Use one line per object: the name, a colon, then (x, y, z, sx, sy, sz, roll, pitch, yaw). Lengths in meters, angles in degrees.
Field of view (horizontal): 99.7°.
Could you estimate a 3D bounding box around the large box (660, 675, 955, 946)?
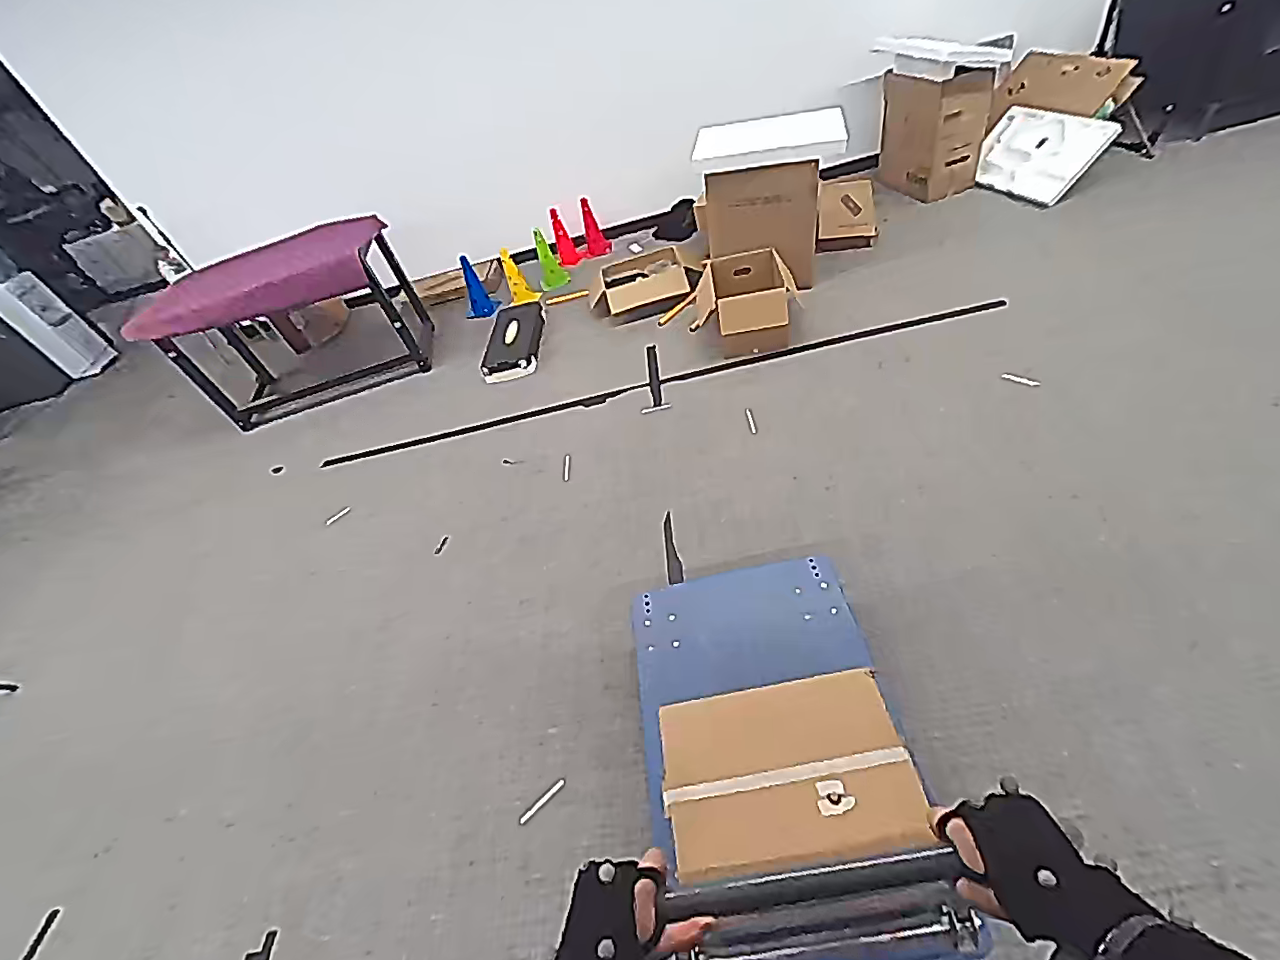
large box: (0.274, 0.608, 0.990, 0.408, 0.320, 0.320, -13, 44, 4)
